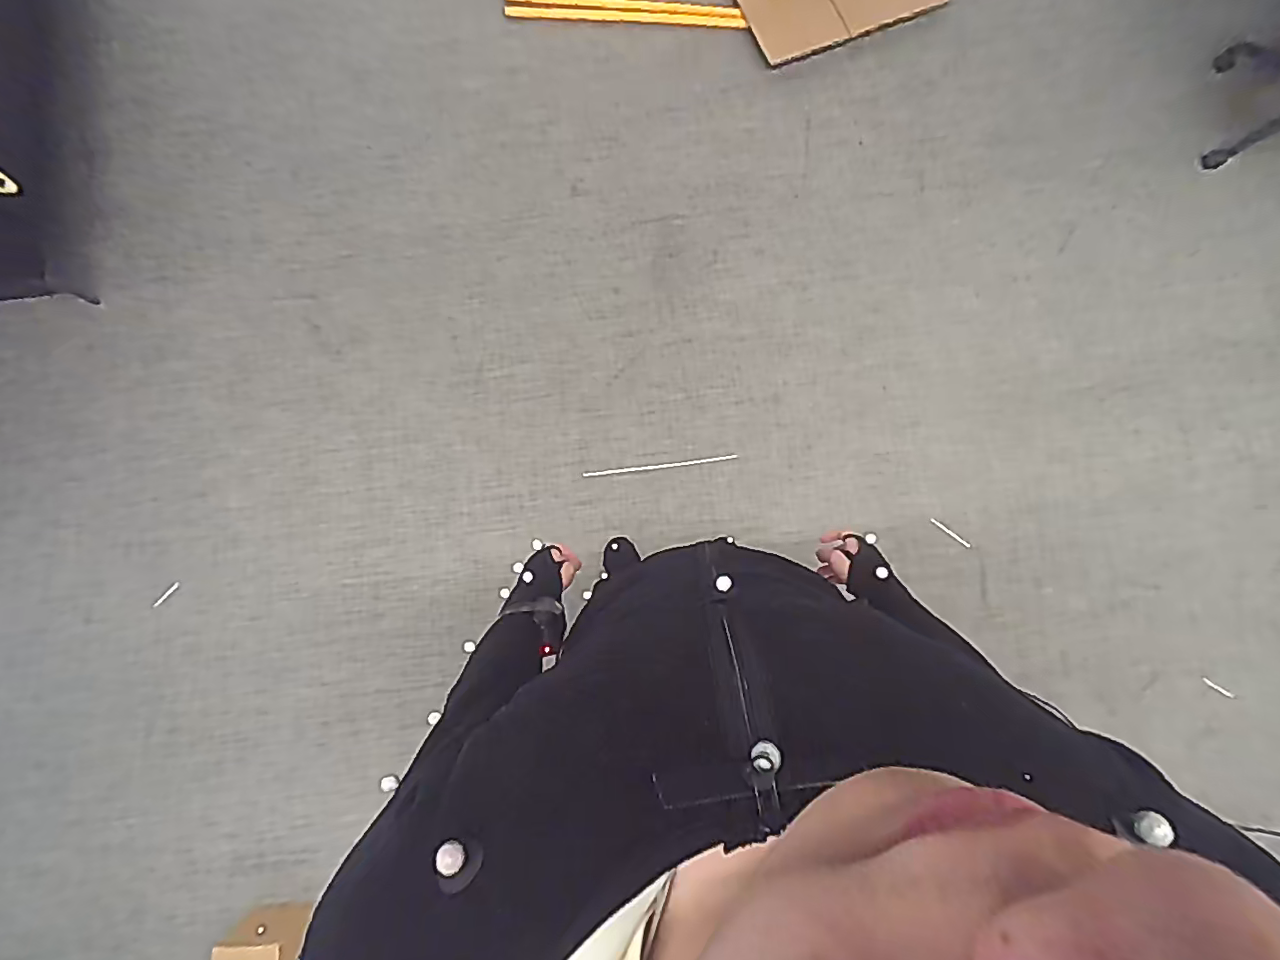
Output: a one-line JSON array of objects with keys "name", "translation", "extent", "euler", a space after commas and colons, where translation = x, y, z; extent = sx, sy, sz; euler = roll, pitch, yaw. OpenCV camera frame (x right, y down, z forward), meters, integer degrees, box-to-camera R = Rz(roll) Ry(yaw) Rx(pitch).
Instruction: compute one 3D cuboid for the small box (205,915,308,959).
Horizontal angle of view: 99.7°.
[{"name": "small box", "translation": [-1.001, 1.280, 1.412], "extent": [0.179, 0.176, 0.168], "euler": [-3, 82, 0]}]
